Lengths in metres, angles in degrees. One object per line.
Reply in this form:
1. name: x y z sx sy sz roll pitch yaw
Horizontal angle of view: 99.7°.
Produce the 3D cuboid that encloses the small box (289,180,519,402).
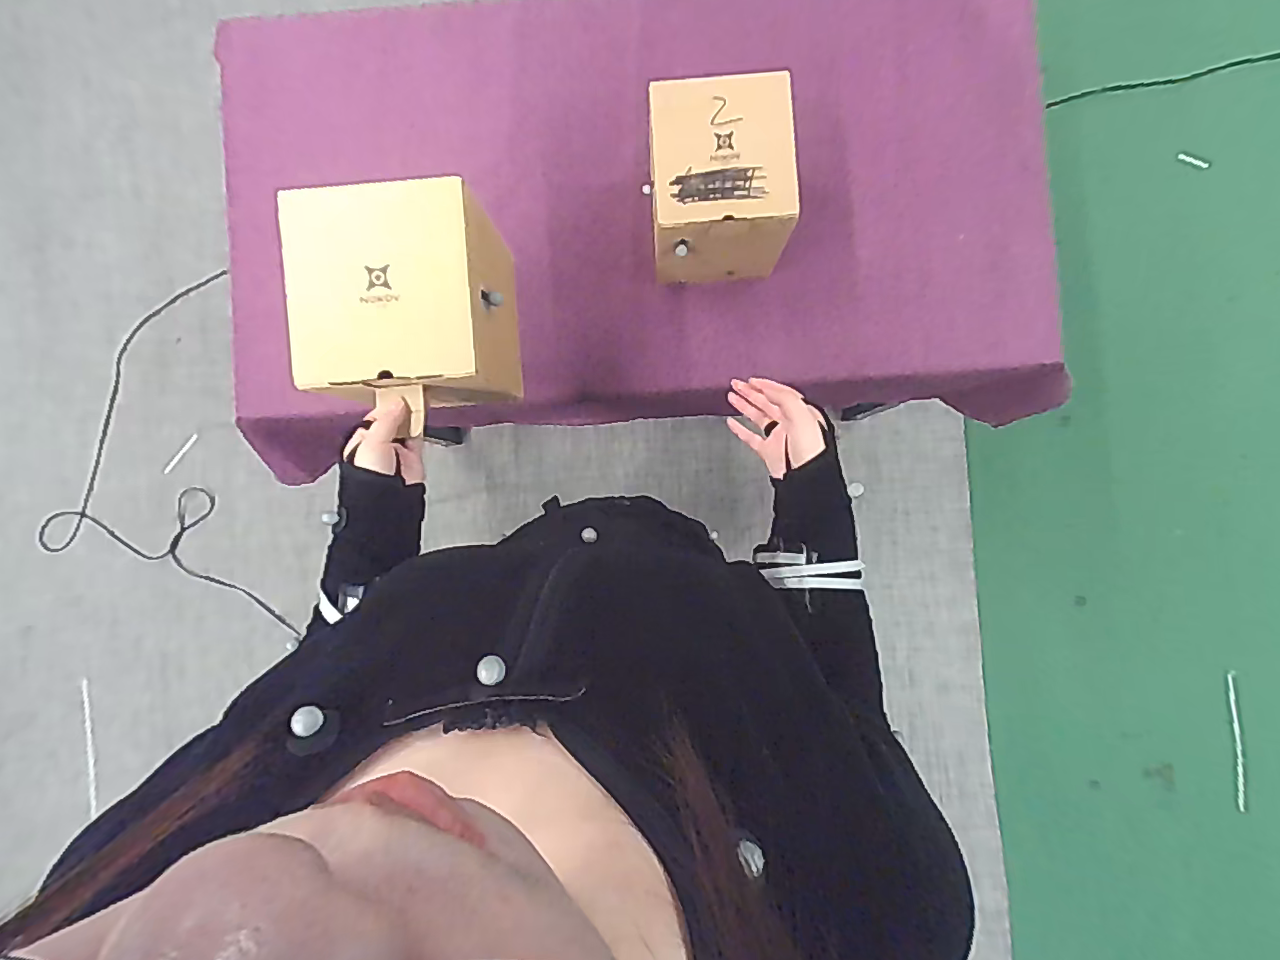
1. small box: -0.231 -0.183 0.570 0.168 0.176 0.179 -4 92 1
